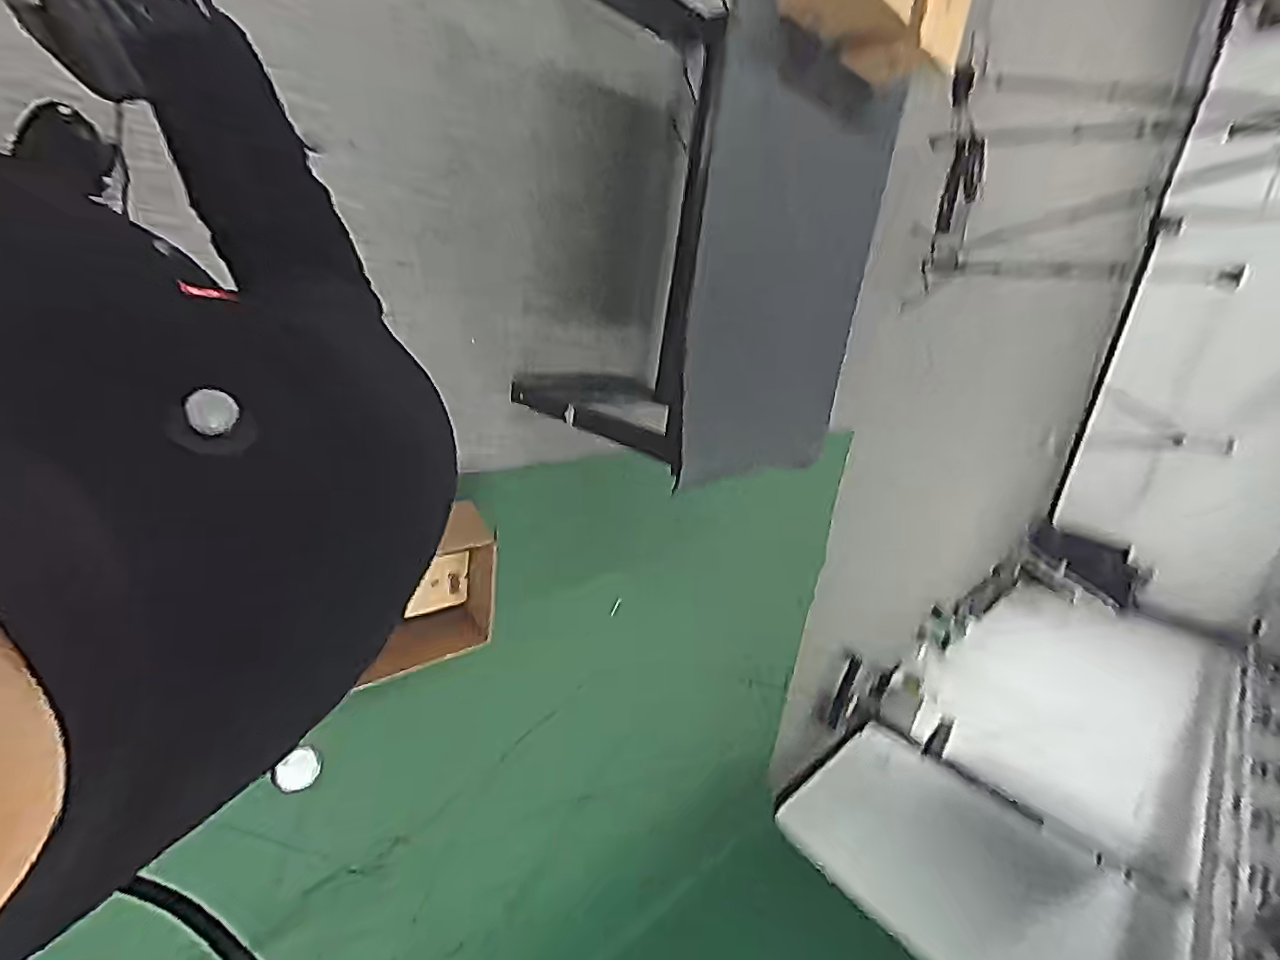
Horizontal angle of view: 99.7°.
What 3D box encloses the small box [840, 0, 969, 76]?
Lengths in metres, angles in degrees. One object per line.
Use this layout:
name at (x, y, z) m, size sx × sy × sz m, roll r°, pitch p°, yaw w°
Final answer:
small box at (0.514, -0.921, 1.047) m, size 0.168 × 0.176 × 0.179 m, roll -11°, pitch 115°, yaw -40°
